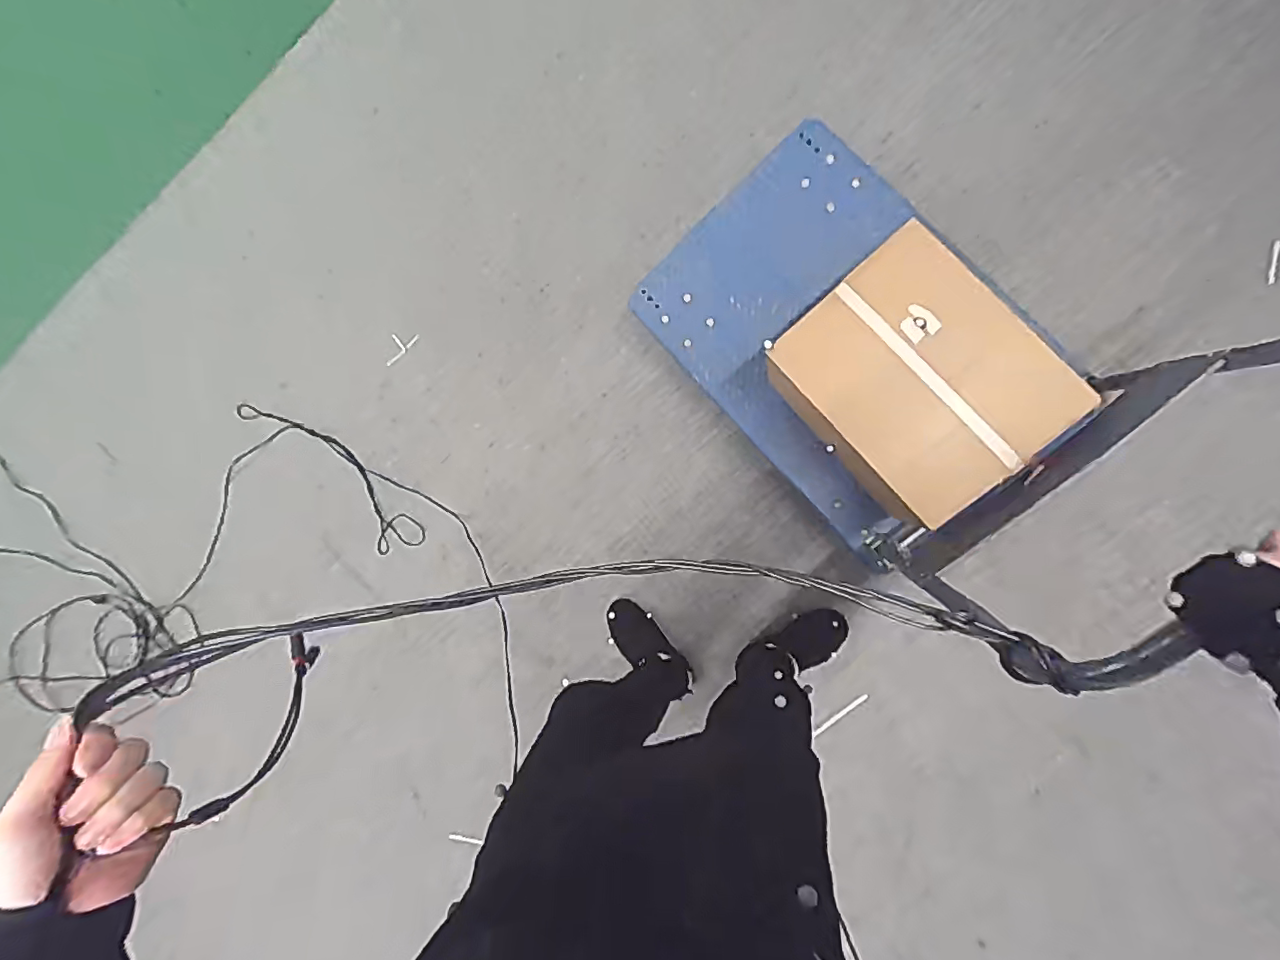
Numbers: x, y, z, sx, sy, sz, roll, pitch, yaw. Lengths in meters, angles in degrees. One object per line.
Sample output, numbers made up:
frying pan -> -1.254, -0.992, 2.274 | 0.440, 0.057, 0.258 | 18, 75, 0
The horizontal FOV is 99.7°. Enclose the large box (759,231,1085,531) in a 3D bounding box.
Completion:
large box -> 0.480, -0.163, 1.022 | 0.320, 0.320, 0.408 | -41, 81, 11
